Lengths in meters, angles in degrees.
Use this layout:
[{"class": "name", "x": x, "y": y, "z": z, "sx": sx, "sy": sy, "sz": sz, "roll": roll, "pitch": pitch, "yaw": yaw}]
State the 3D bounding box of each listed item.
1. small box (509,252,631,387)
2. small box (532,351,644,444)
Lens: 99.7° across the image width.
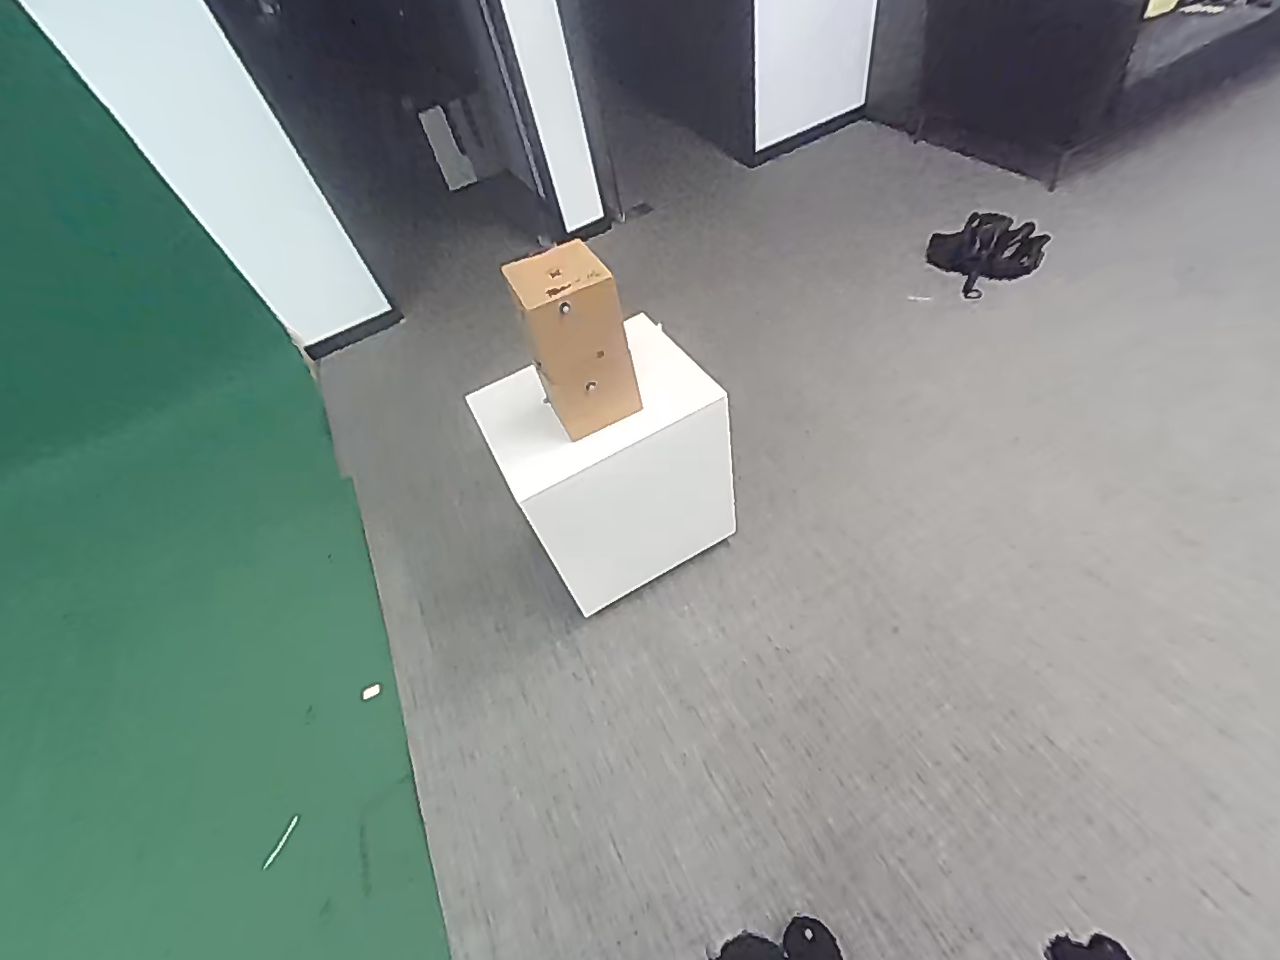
[{"class": "small box", "x": -0.133, "y": -0.314, "z": 1.063, "sx": 0.168, "sy": 0.176, "sz": 0.179, "roll": -27, "pitch": 51, "yaw": -11}, {"class": "small box", "x": -0.110, "y": -0.207, "z": 1.182, "sx": 0.179, "sy": 0.176, "sz": 0.168, "roll": -26, "pitch": 50, "yaw": -9}]
